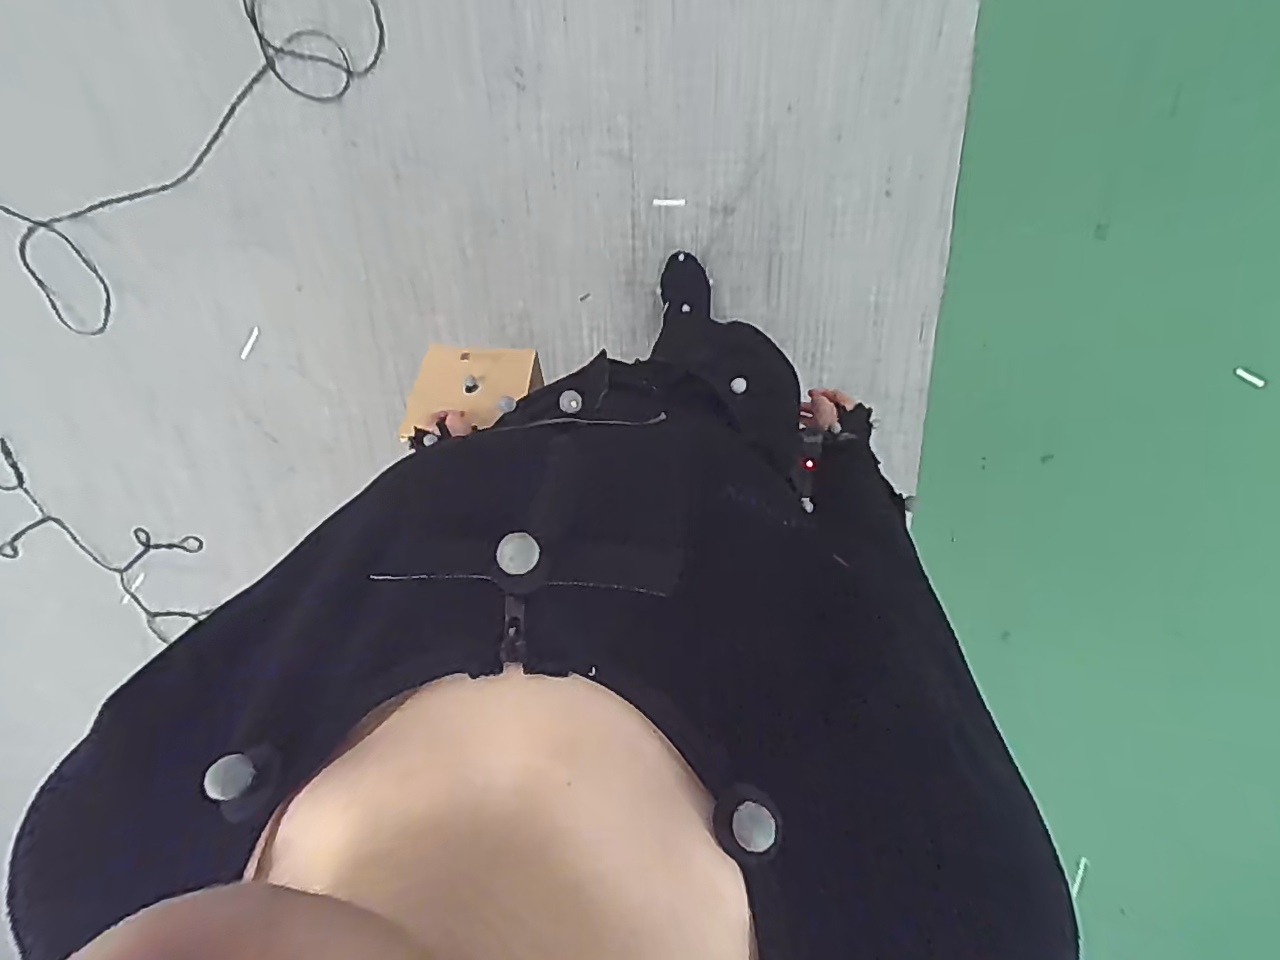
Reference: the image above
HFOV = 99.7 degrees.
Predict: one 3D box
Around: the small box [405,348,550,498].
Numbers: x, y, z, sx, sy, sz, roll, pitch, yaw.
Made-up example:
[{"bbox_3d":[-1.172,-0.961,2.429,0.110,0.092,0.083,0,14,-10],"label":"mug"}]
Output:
[{"bbox_3d":[-0.237,-0.088,0.836,0.168,0.176,0.179,0,149,1],"label":"small box"}]
